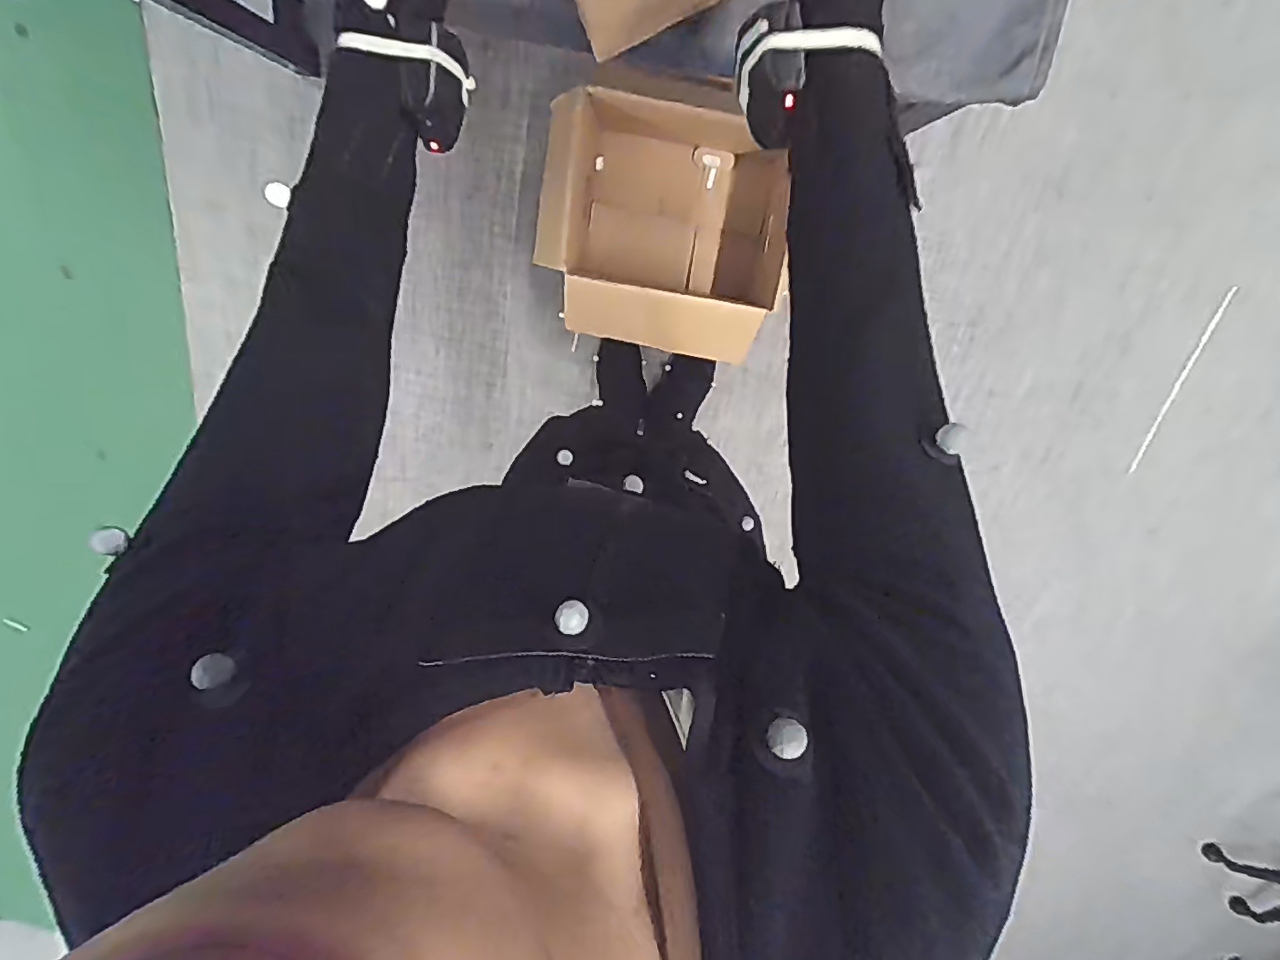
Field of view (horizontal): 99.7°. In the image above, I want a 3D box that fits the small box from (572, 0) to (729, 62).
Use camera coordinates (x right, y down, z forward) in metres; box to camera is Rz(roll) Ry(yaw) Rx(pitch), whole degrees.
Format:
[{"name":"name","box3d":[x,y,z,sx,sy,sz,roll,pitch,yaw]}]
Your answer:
[{"name":"small box","box3d":[0.005,-0.486,0.434,0.179,0.176,0.168,-20,110,10]}]
